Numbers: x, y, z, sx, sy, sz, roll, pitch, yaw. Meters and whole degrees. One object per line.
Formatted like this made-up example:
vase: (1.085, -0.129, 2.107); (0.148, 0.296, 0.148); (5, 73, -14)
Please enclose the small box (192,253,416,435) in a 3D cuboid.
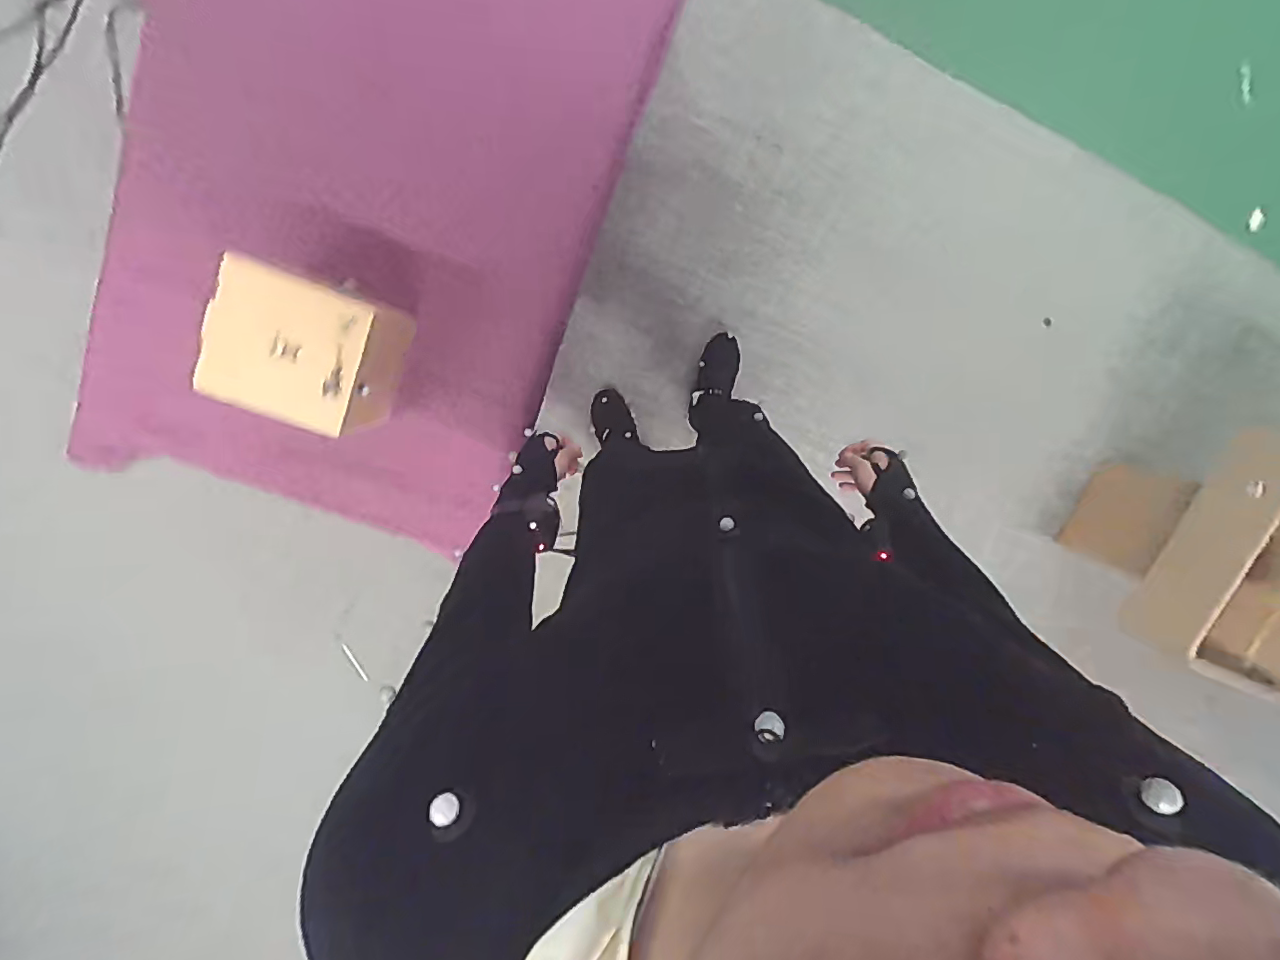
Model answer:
small box: (-0.431, -0.173, 0.722); (0.179, 0.176, 0.168); (21, 100, -9)
